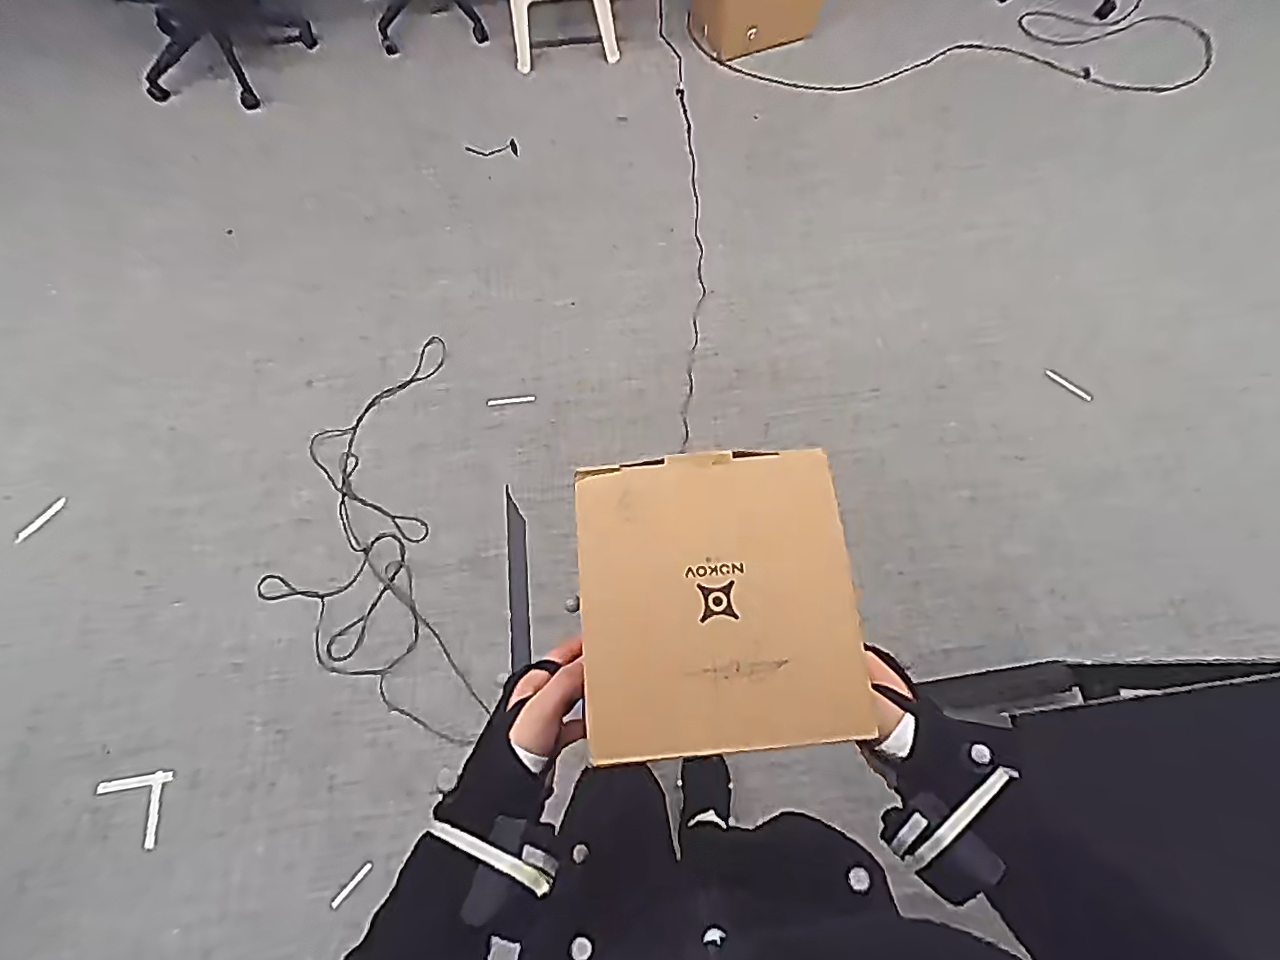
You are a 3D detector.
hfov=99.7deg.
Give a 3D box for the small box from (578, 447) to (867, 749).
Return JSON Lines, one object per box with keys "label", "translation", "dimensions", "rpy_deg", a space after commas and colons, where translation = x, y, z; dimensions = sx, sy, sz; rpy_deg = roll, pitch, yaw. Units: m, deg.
{"label": "small box", "translation": [0.043, 0.088, 0.409], "dimensions": [0.168, 0.176, 0.179], "rpy_deg": [-4, 75, -1]}
